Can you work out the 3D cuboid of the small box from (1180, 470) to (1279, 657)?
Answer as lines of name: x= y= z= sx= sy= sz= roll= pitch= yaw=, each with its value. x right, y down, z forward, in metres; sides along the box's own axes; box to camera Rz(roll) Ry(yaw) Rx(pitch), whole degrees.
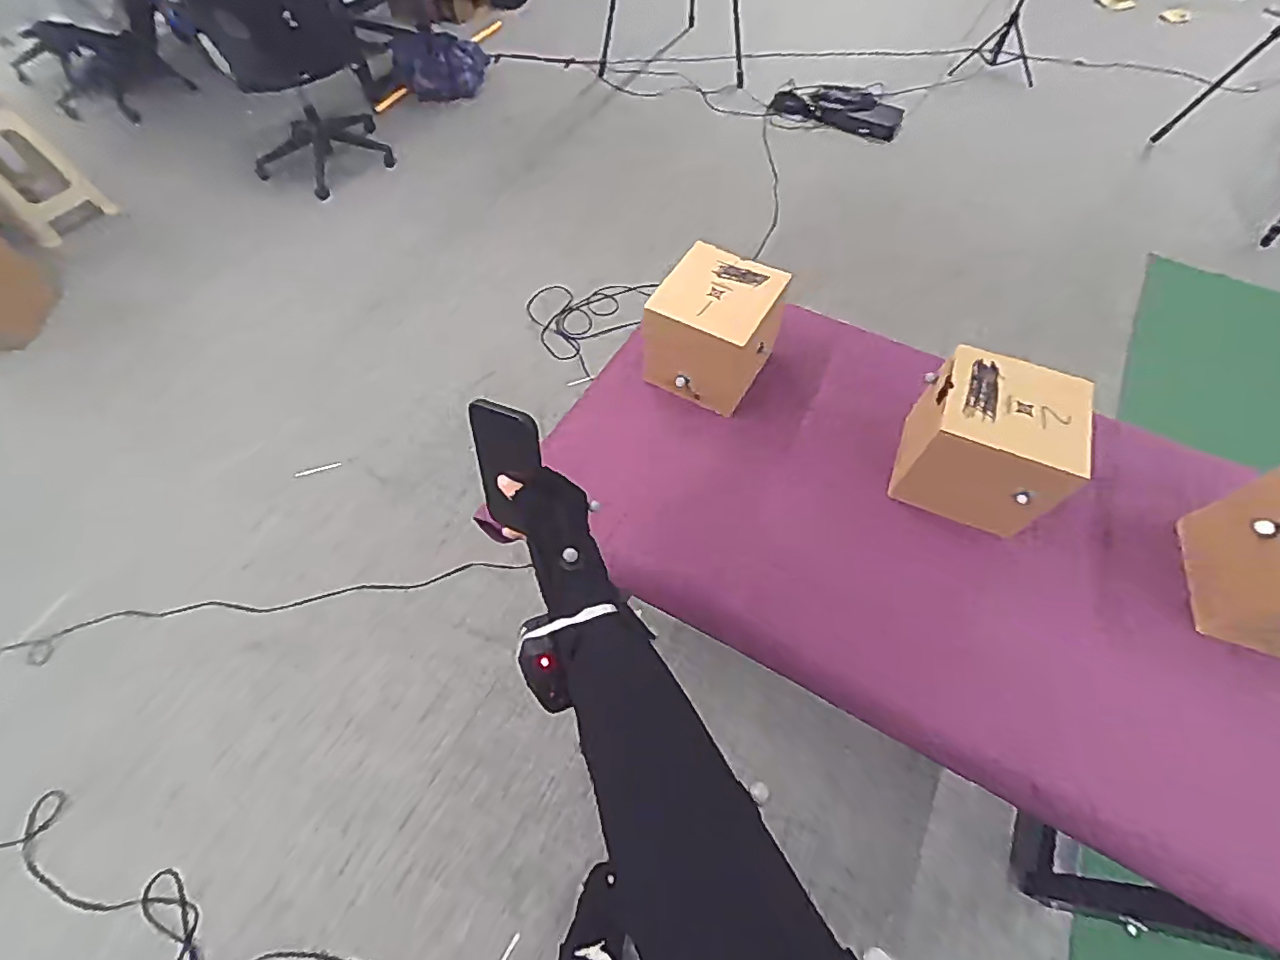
small box: x=0.819 y=0.115 z=0.653 sx=0.168 sy=0.176 sz=0.179 roll=17 pitch=60 yaw=11

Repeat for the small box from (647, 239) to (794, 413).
small box: x=0.121 y=-0.244 z=0.870 sx=0.168 sy=0.176 sz=0.179 roll=28 pitch=65 yaw=16
